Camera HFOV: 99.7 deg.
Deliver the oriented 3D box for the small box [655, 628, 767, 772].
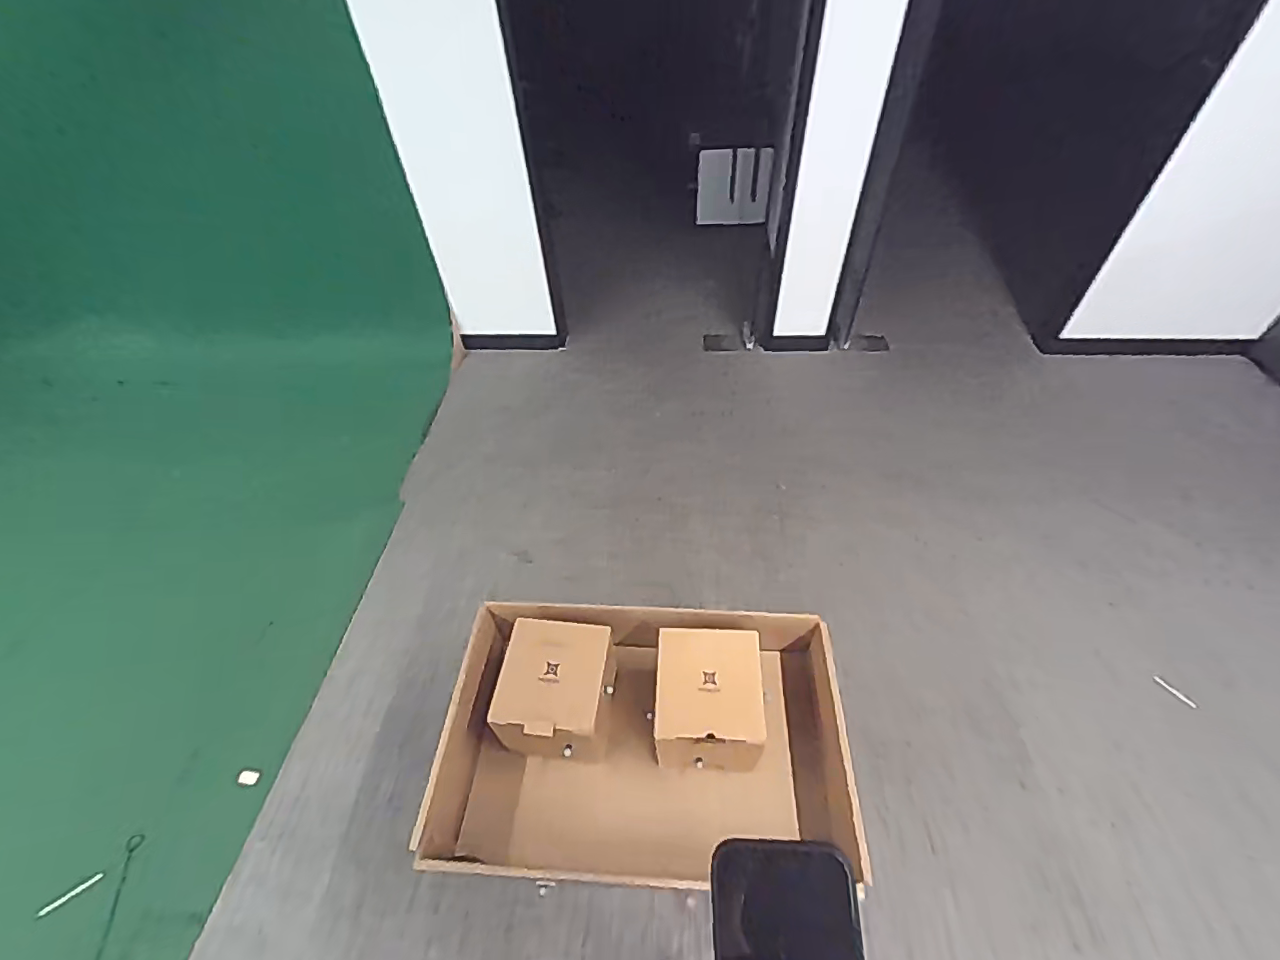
[{"bbox_3d":[0.113,0.366,0.901,0.168,0.176,0.179,0,50,5],"label":"small box"}]
